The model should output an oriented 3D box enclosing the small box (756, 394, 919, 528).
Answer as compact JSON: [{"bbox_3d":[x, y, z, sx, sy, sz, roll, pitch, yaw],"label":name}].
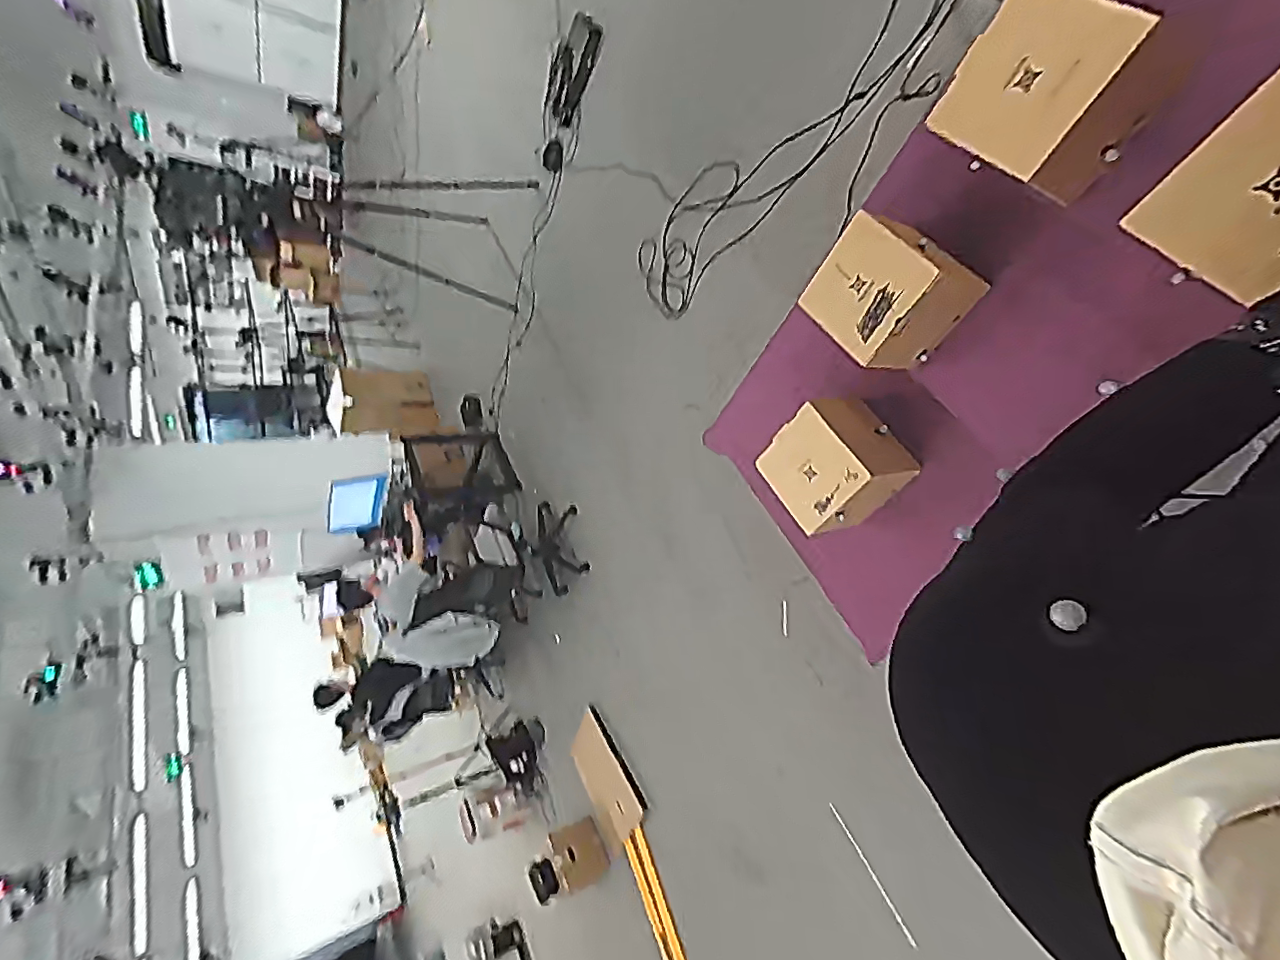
[{"bbox_3d":[0.353,-0.037,0.976,0.179,0.176,0.168,60,139,28],"label":"small box"}]

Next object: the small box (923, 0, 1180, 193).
[{"bbox_3d":[0.516,-0.494,0.688,0.179,0.176,0.168,57,137,29],"label":"small box"}]

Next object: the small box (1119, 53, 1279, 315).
[{"bbox_3d":[0.650,-0.282,0.539,0.179,0.176,0.168,61,139,28],"label":"small box"}]

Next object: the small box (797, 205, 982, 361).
[{"bbox_3d":[0.400,-0.309,0.871,0.179,0.176,0.168,59,137,30],"label":"small box"}]
